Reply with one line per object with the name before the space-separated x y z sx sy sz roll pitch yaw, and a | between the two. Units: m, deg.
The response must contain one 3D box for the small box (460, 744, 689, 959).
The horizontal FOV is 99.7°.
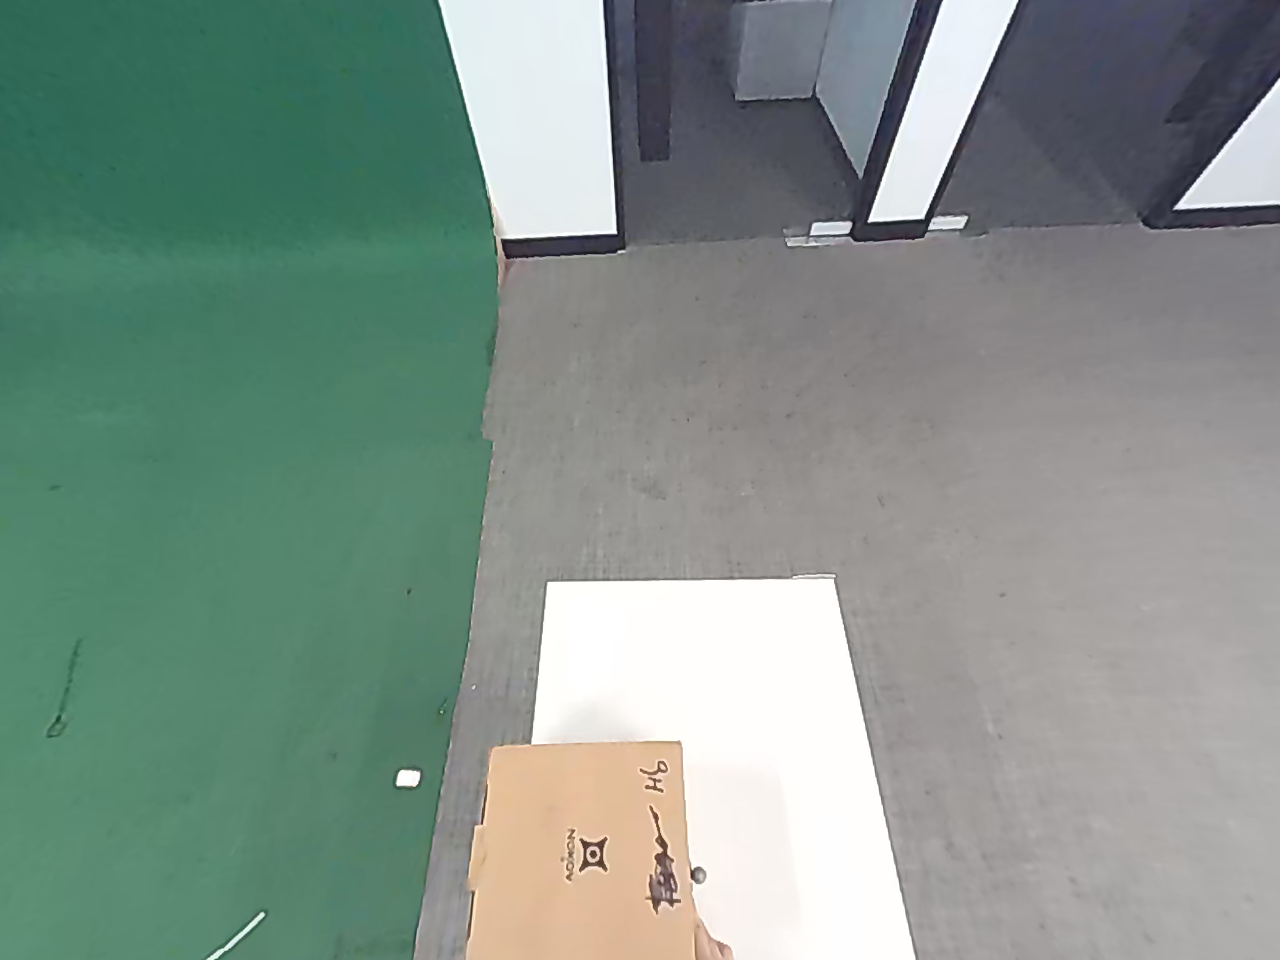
small box | -0.049 0.352 0.509 0.179 0.176 0.168 -1 56 0
